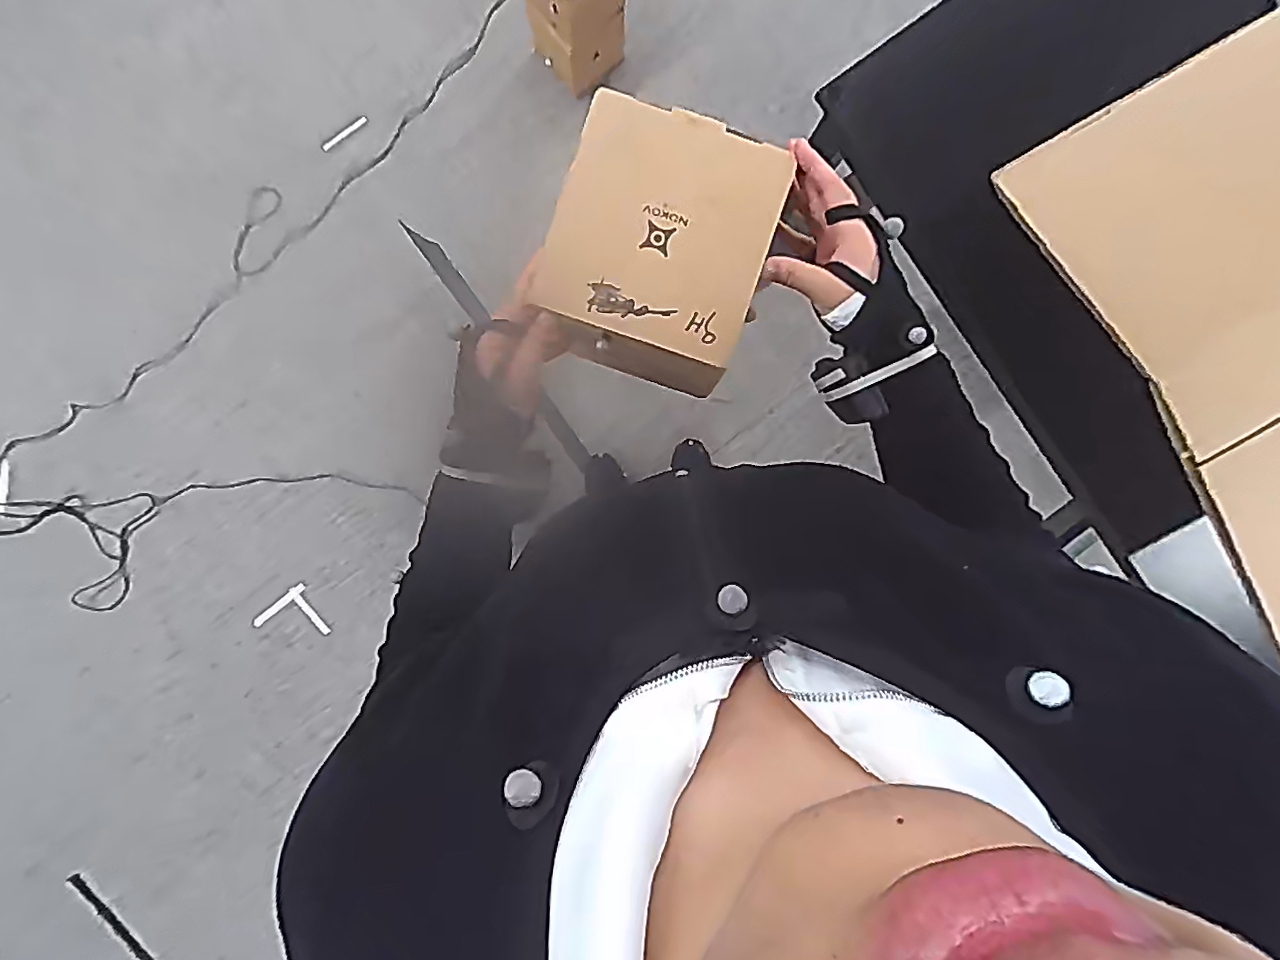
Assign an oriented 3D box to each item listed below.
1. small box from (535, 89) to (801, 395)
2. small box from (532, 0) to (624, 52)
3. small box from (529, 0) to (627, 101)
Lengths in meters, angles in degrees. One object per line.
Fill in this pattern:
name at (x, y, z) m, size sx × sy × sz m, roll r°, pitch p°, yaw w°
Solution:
small box at (0.023, -0.195, 0.496) m, size 0.168 × 0.176 × 0.179 m, roll 19°, pitch 90°, yaw 2°
small box at (-0.143, -1.114, 1.195) m, size 0.179 × 0.176 × 0.168 m, roll -43°, pitch 94°, yaw -1°
small box at (-0.151, -1.117, 1.357) m, size 0.179 × 0.176 × 0.168 m, roll -40°, pitch 93°, yaw 1°
